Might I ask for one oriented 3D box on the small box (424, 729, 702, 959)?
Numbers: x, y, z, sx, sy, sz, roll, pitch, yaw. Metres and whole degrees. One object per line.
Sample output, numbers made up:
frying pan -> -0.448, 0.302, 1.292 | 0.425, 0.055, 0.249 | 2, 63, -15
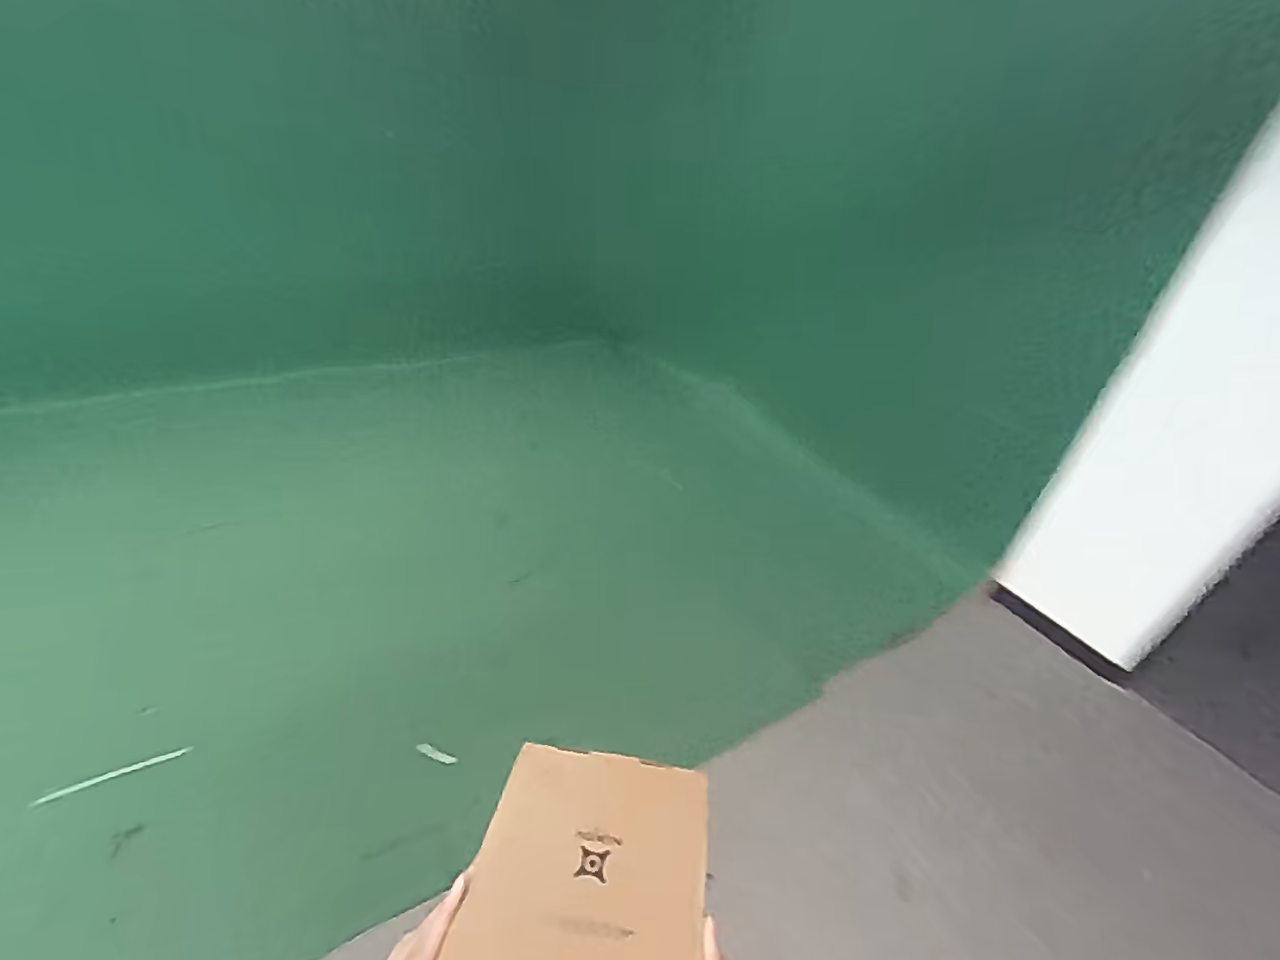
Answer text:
small box -> -0.047, 0.336, 0.421 | 0.168, 0.176, 0.179 | 7, 25, 5
